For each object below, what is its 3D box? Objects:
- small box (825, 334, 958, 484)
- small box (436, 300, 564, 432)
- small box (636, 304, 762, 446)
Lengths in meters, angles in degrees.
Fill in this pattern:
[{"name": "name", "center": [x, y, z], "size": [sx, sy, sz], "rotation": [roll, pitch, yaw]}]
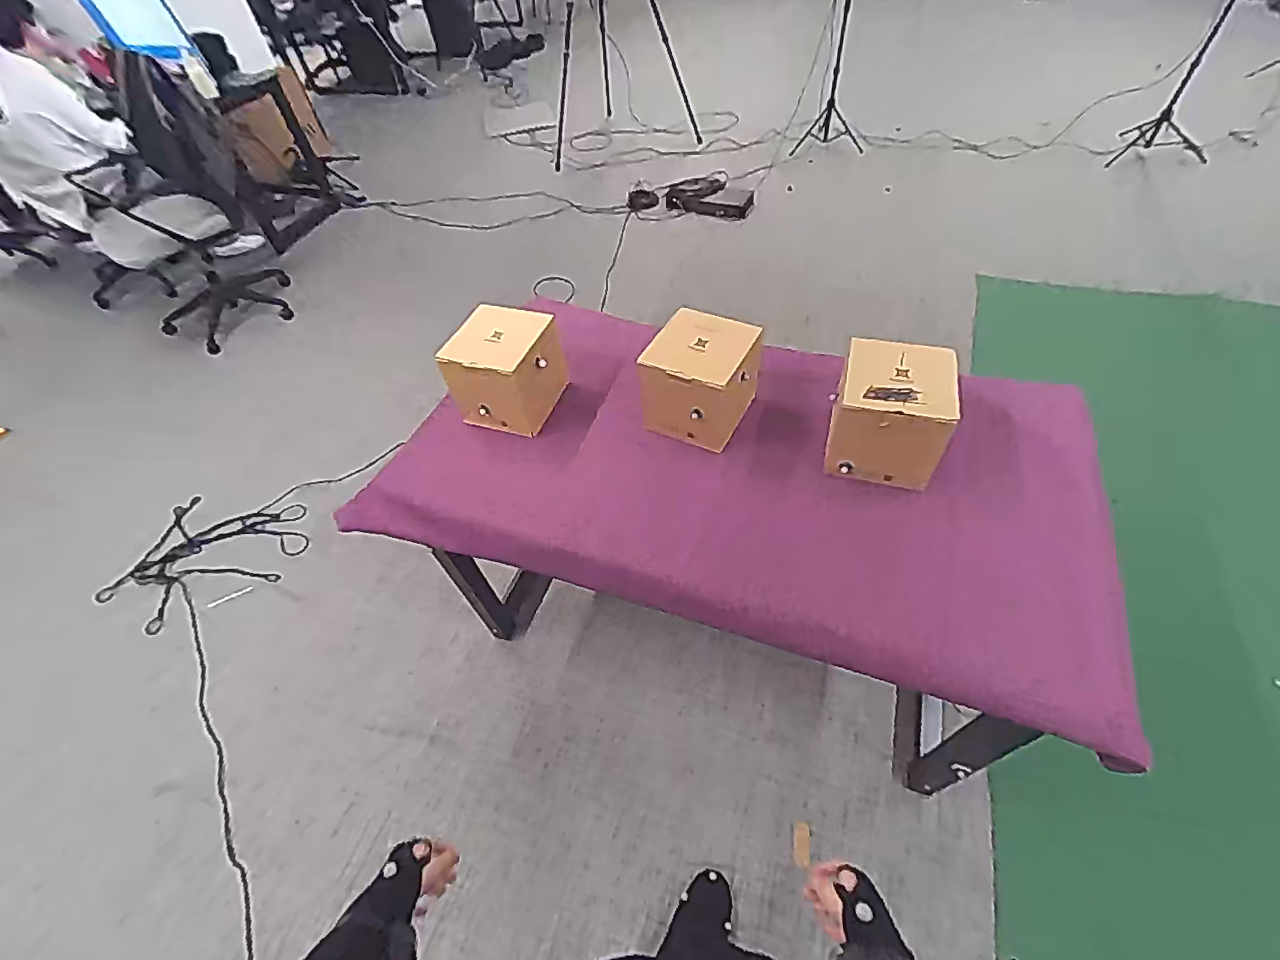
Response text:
[{"name": "small box", "center": [0.415, -0.117, 0.907], "size": [0.168, 0.176, 0.179], "rotation": [12, 53, 15]}, {"name": "small box", "center": [-0.261, -0.223, 1.066], "size": [0.168, 0.176, 0.179], "rotation": [13, 55, 16]}, {"name": "small box", "center": [0.112, -0.191, 1.000], "size": [0.168, 0.176, 0.179], "rotation": [22, 57, 21]}]
